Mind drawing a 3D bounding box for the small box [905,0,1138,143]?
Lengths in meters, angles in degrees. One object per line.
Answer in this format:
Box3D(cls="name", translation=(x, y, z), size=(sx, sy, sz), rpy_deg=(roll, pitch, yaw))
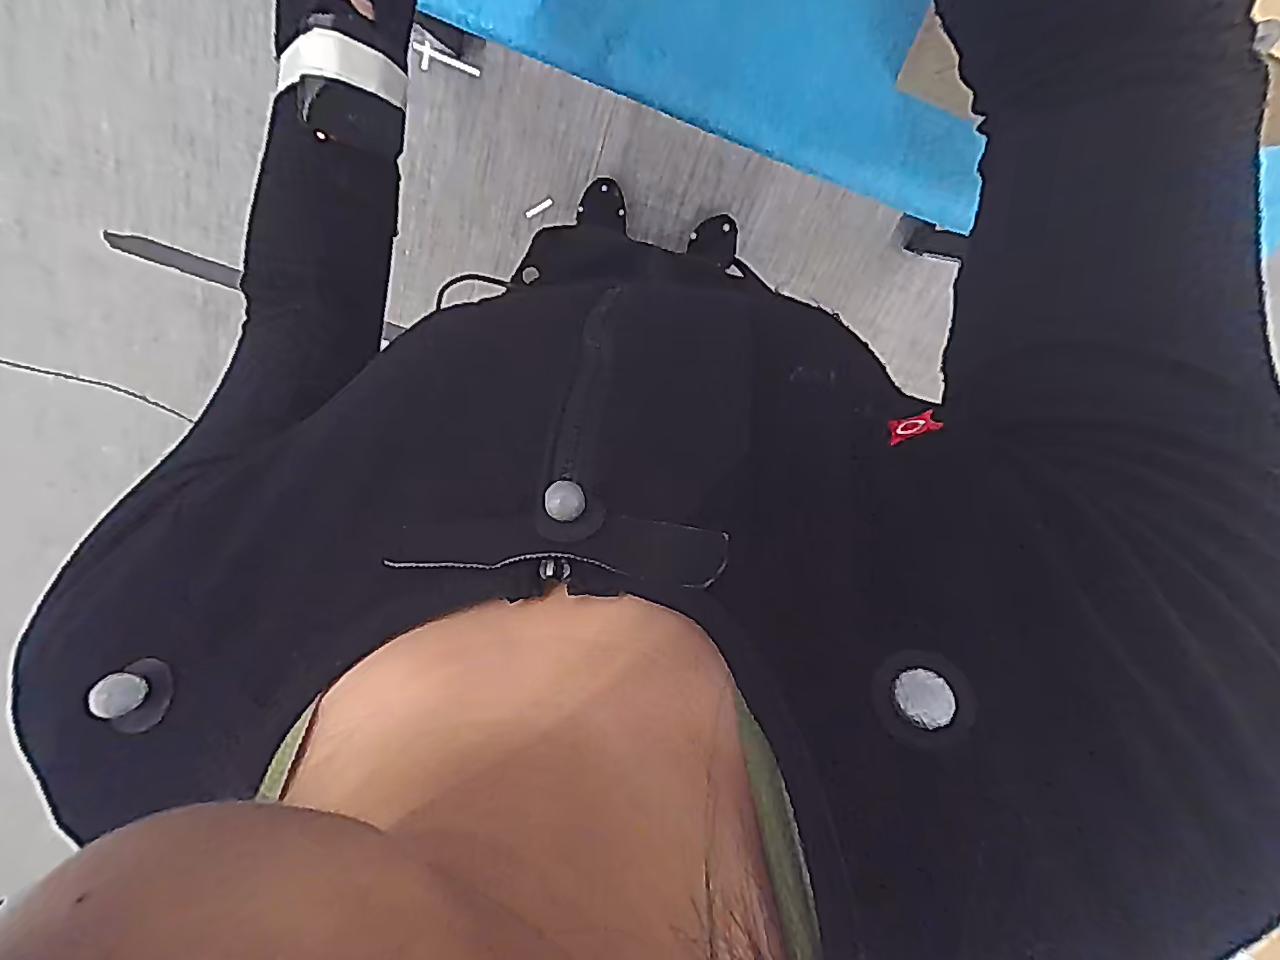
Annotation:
Box3D(cls="small box", translation=(0.371, -0.410, 0.464), size=(0.179, 0.176, 0.168), rpy_deg=(16, 117, -11))
